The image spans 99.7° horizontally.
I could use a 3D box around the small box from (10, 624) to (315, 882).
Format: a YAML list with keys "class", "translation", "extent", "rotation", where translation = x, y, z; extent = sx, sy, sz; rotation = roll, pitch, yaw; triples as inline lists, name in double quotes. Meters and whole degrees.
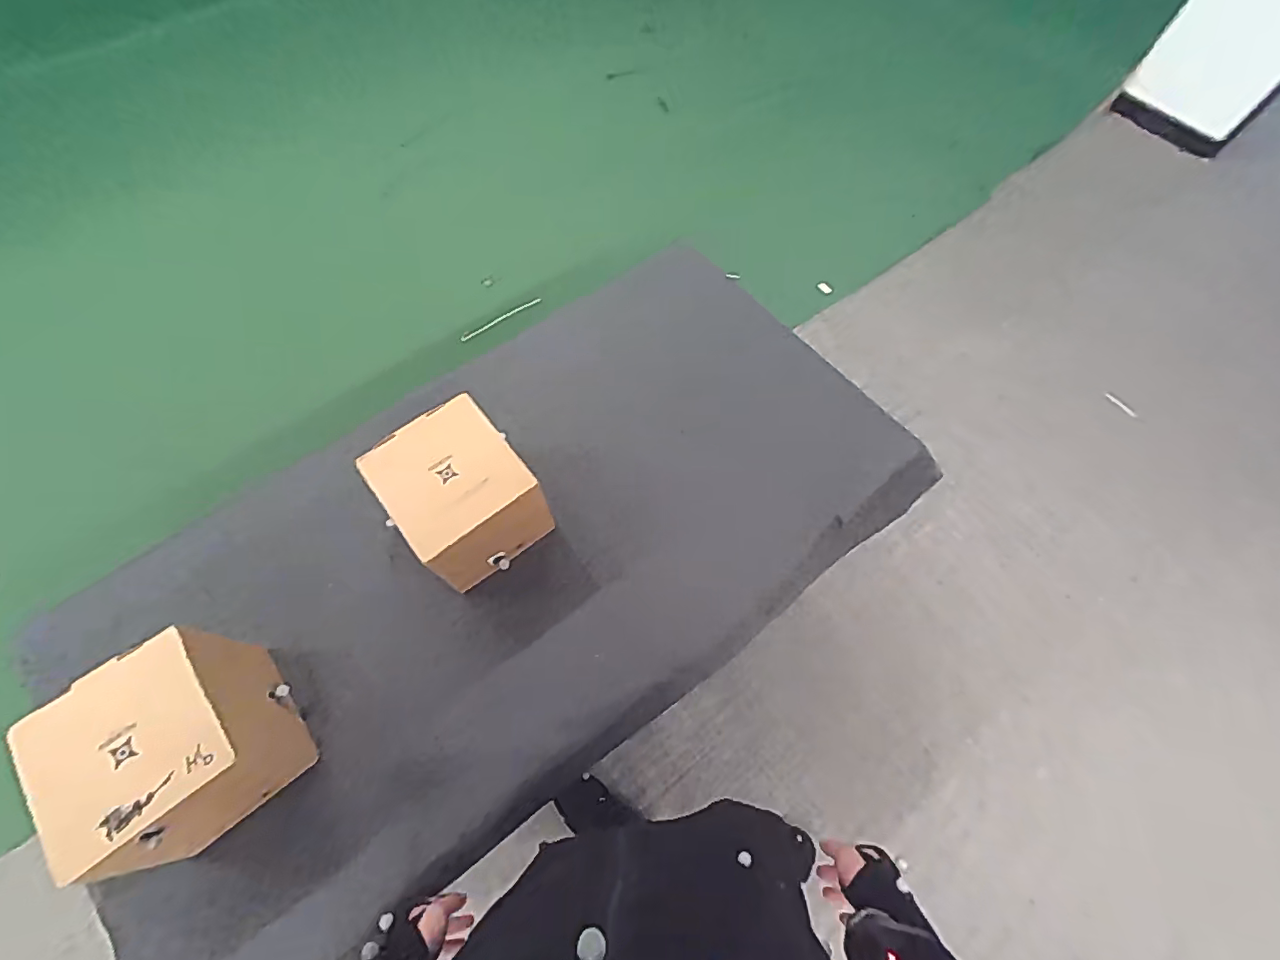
- class: "small box"
  translation: [-0.514, 0.295, 0.608]
  extent: [0.168, 0.176, 0.179]
  rotation: [-37, 71, -16]

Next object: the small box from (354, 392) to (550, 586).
- class: "small box"
  translation: [-0.245, 0.020, 0.744]
  extent: [0.168, 0.176, 0.179]
  rotation: [-38, 73, -15]
